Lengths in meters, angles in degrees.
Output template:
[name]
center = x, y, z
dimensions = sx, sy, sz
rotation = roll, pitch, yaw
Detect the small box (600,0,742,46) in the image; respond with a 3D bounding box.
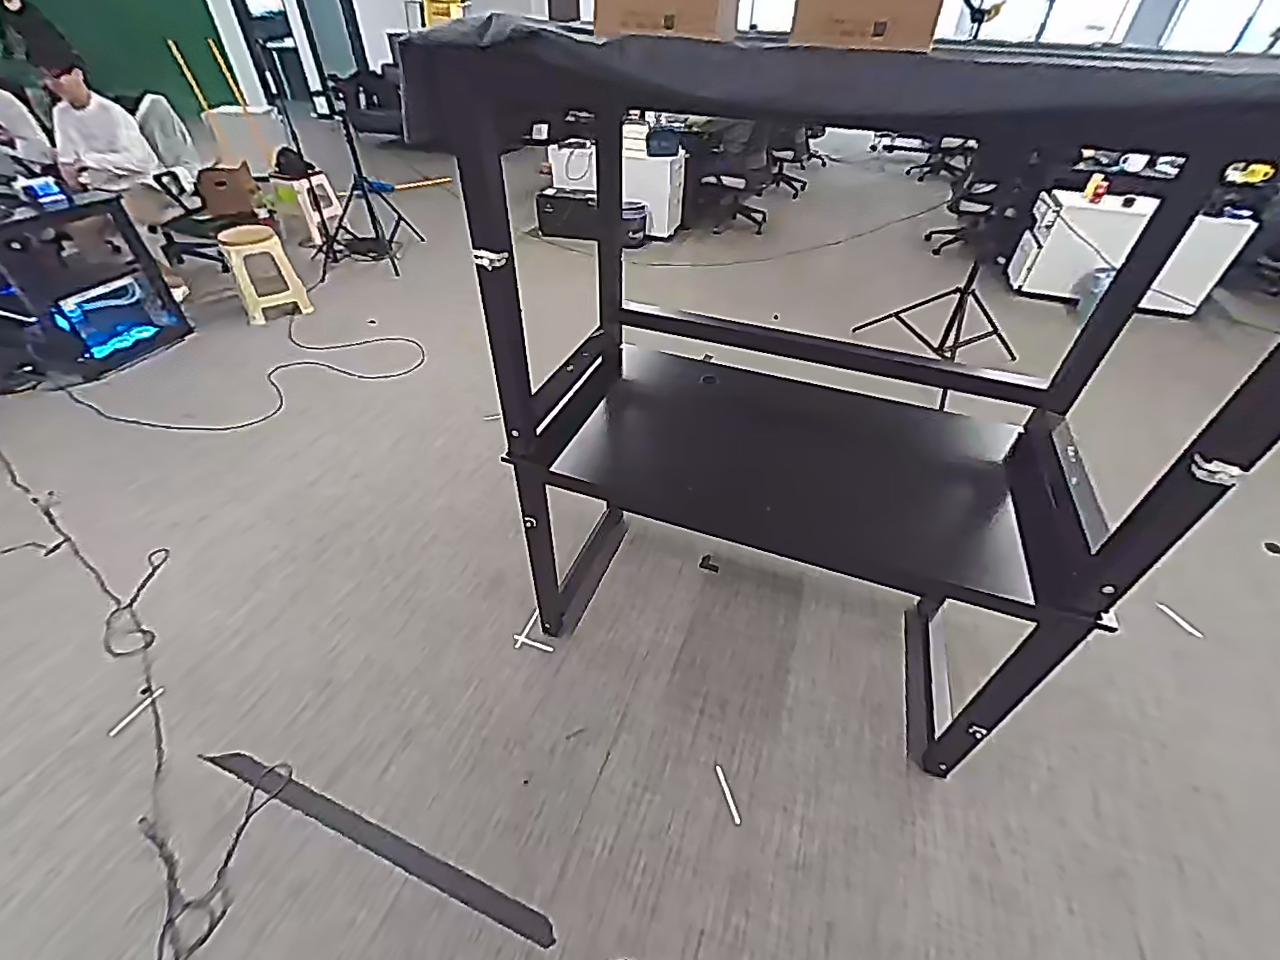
[small box]
center = 0.048, -0.683, 0.712
dimensions = 0.168, 0.176, 0.179
rotation = 13, 42, 11
